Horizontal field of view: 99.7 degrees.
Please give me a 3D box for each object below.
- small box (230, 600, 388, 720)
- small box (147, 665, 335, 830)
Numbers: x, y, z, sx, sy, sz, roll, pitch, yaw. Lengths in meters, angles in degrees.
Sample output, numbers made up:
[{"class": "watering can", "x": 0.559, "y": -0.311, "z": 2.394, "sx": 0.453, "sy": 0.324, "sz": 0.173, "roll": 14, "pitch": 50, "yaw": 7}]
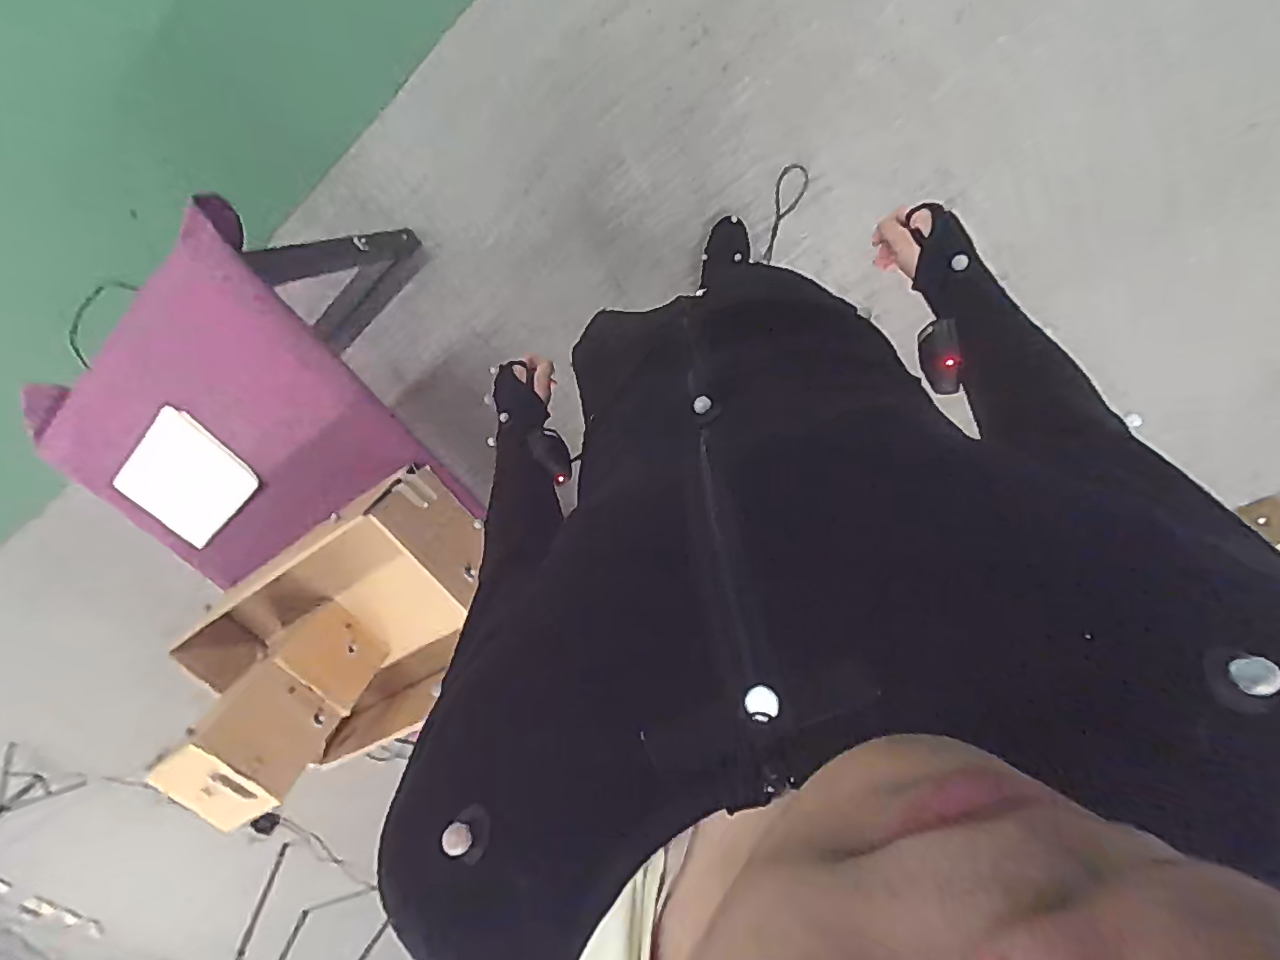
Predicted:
[{"class": "small box", "x": -0.644, "y": 0.375, "z": 1.074, "sx": 0.179, "sy": 0.176, "sz": 0.168, "roll": -33, "pitch": 108, "yaw": 20}, {"class": "small box", "x": -0.668, "y": 0.454, "z": 0.932, "sx": 0.179, "sy": 0.176, "sz": 0.168, "roll": -33, "pitch": 108, "yaw": 22}]
